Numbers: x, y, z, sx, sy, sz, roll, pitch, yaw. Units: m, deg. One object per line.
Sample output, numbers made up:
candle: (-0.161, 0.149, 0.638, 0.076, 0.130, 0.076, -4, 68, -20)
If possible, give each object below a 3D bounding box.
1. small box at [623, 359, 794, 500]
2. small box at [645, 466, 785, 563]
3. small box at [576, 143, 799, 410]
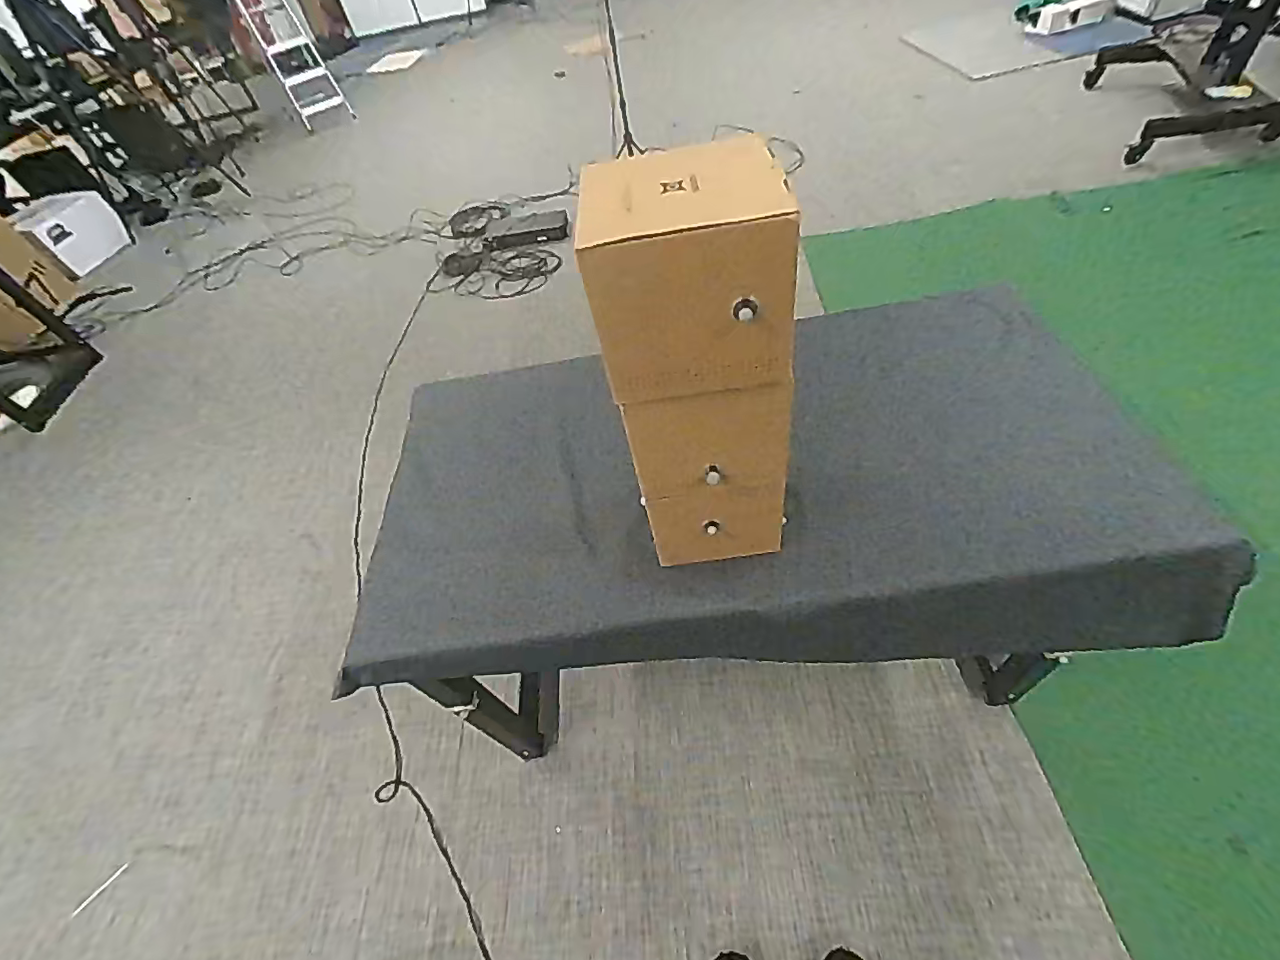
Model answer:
small box: (0.077, -0.093, 0.654, 0.179, 0.176, 0.168, -7, 50, 6)
small box: (0.104, 0.004, 0.779, 0.179, 0.176, 0.168, -6, 49, 7)
small box: (0.047, -0.191, 0.527, 0.179, 0.176, 0.168, -8, 49, 7)
